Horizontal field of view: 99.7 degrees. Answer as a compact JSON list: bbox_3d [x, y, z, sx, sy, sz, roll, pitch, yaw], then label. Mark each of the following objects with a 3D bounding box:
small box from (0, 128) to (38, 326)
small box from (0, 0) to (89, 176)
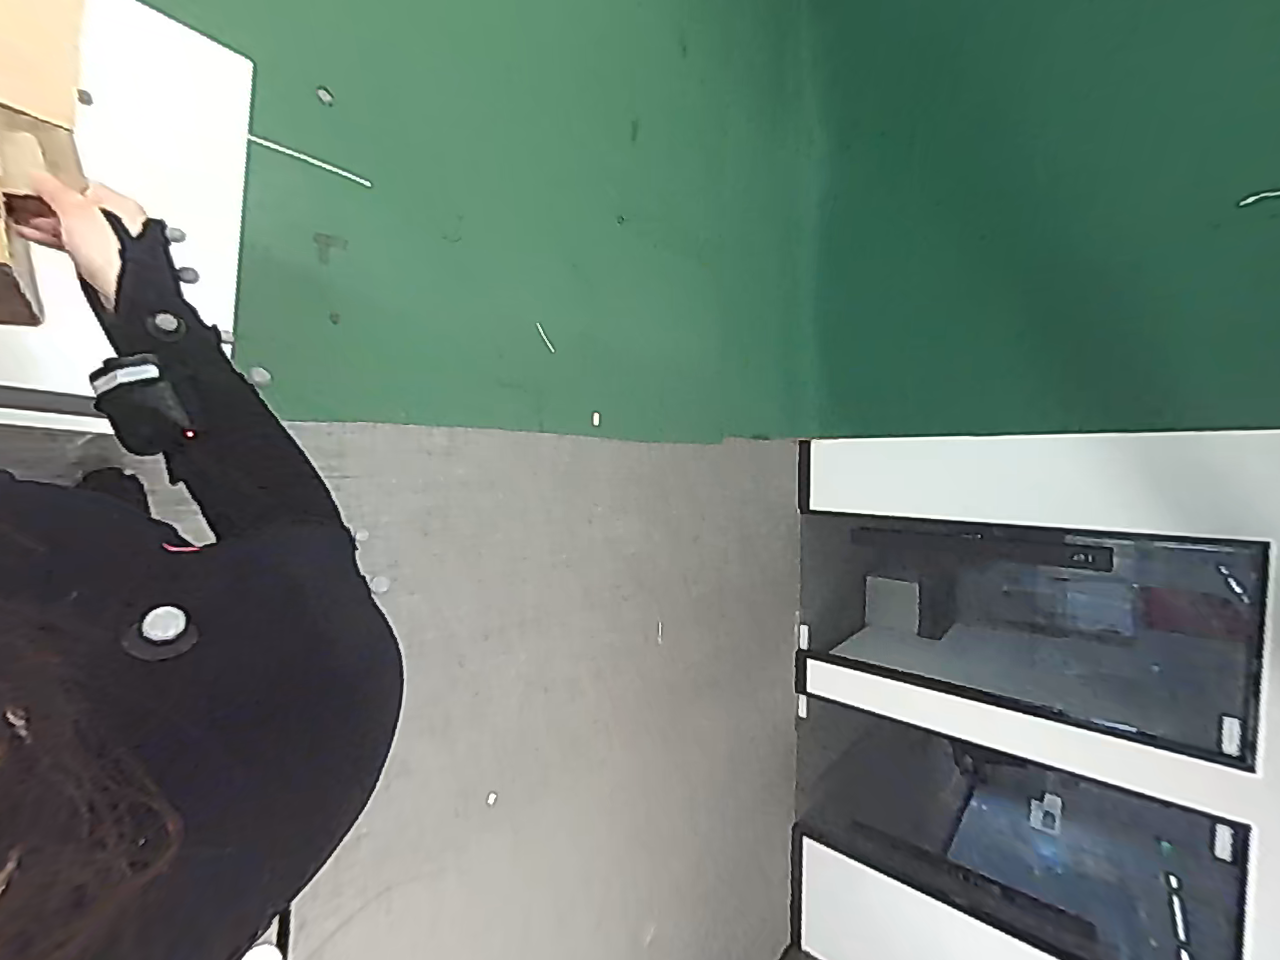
[{"bbox_3d":[-0.547,-0.205,0.355,0.179,0.176,0.168,-11,95,-44],"label":"small box"},{"bbox_3d":[-0.661,-0.433,0.522,0.168,0.176,0.179,6,88,-50],"label":"small box"}]
